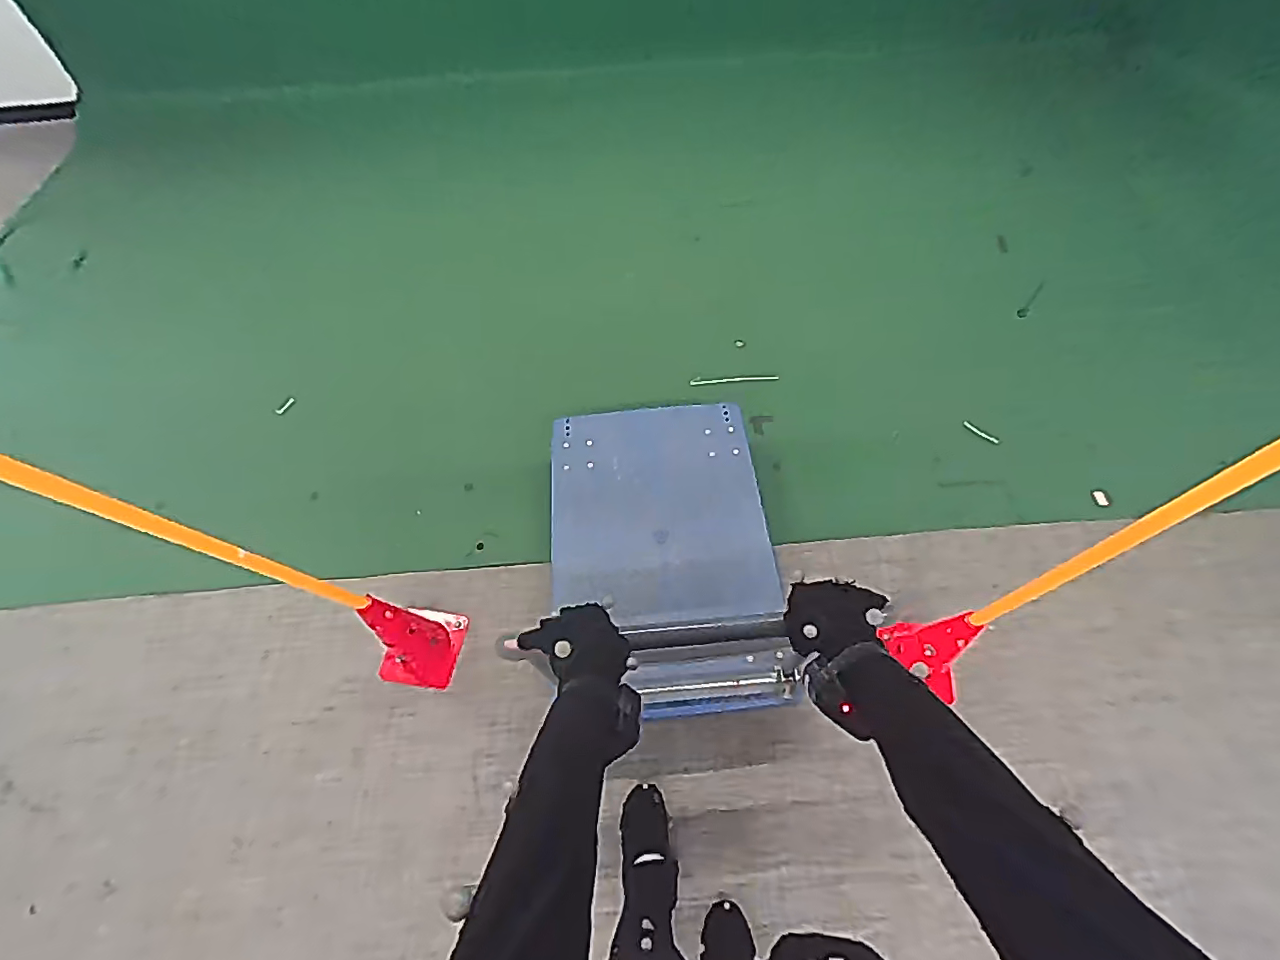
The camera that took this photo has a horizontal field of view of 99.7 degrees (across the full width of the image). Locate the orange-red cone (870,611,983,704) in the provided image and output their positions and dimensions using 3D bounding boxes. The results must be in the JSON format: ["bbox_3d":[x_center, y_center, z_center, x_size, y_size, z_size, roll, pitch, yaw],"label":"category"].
[{"bbox_3d":[0.696,0.380,1.258,0.198,0.360,0.199,5,59,6],"label":"orange-red cone"}]
